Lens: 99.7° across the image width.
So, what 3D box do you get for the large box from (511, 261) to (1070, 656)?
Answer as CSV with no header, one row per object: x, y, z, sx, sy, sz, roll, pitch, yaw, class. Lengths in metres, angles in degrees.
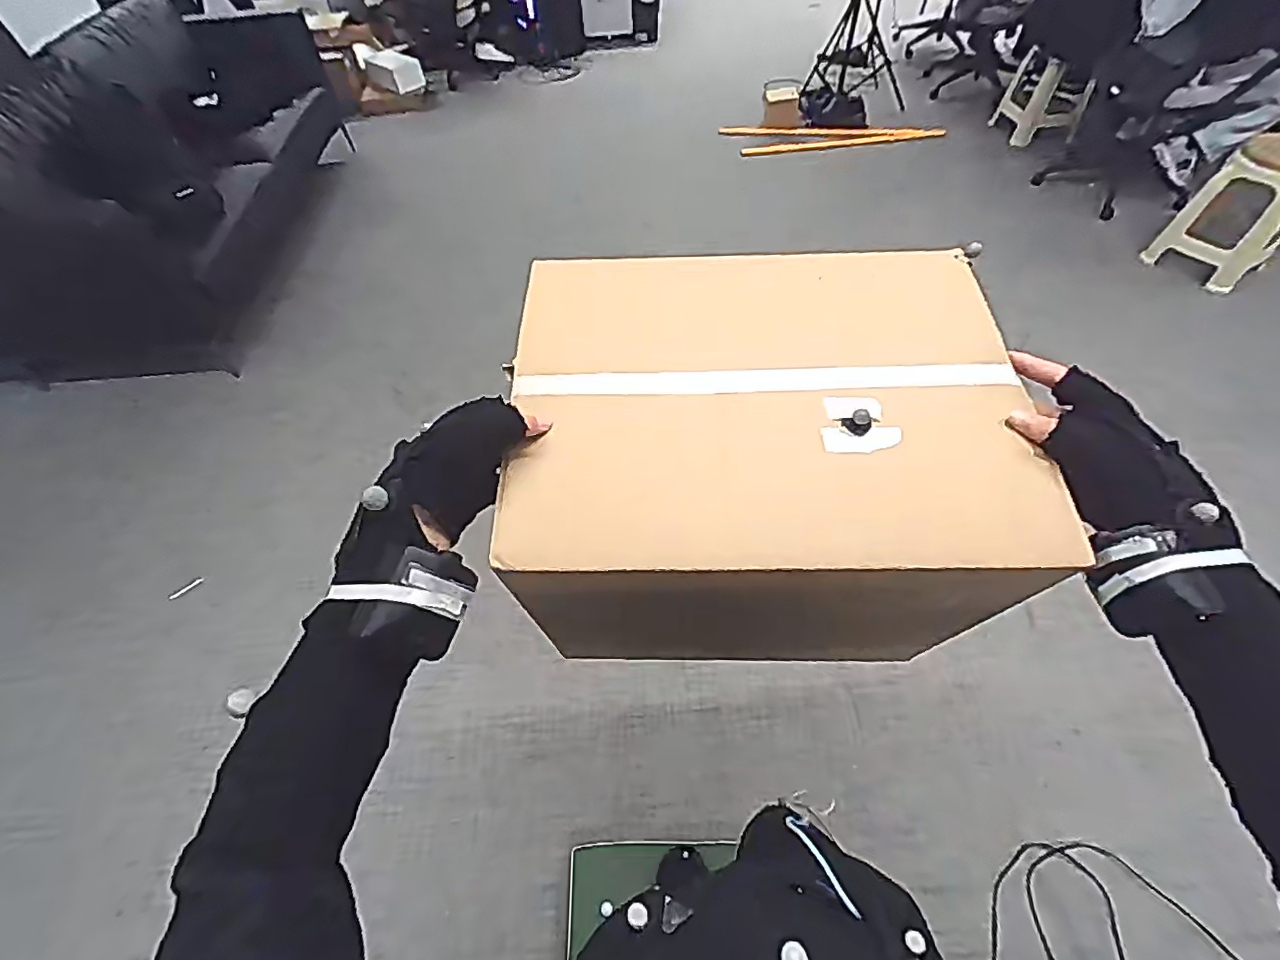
0.105,-0.004,0.581,0.408,0.320,0.320,0,61,1,large box
